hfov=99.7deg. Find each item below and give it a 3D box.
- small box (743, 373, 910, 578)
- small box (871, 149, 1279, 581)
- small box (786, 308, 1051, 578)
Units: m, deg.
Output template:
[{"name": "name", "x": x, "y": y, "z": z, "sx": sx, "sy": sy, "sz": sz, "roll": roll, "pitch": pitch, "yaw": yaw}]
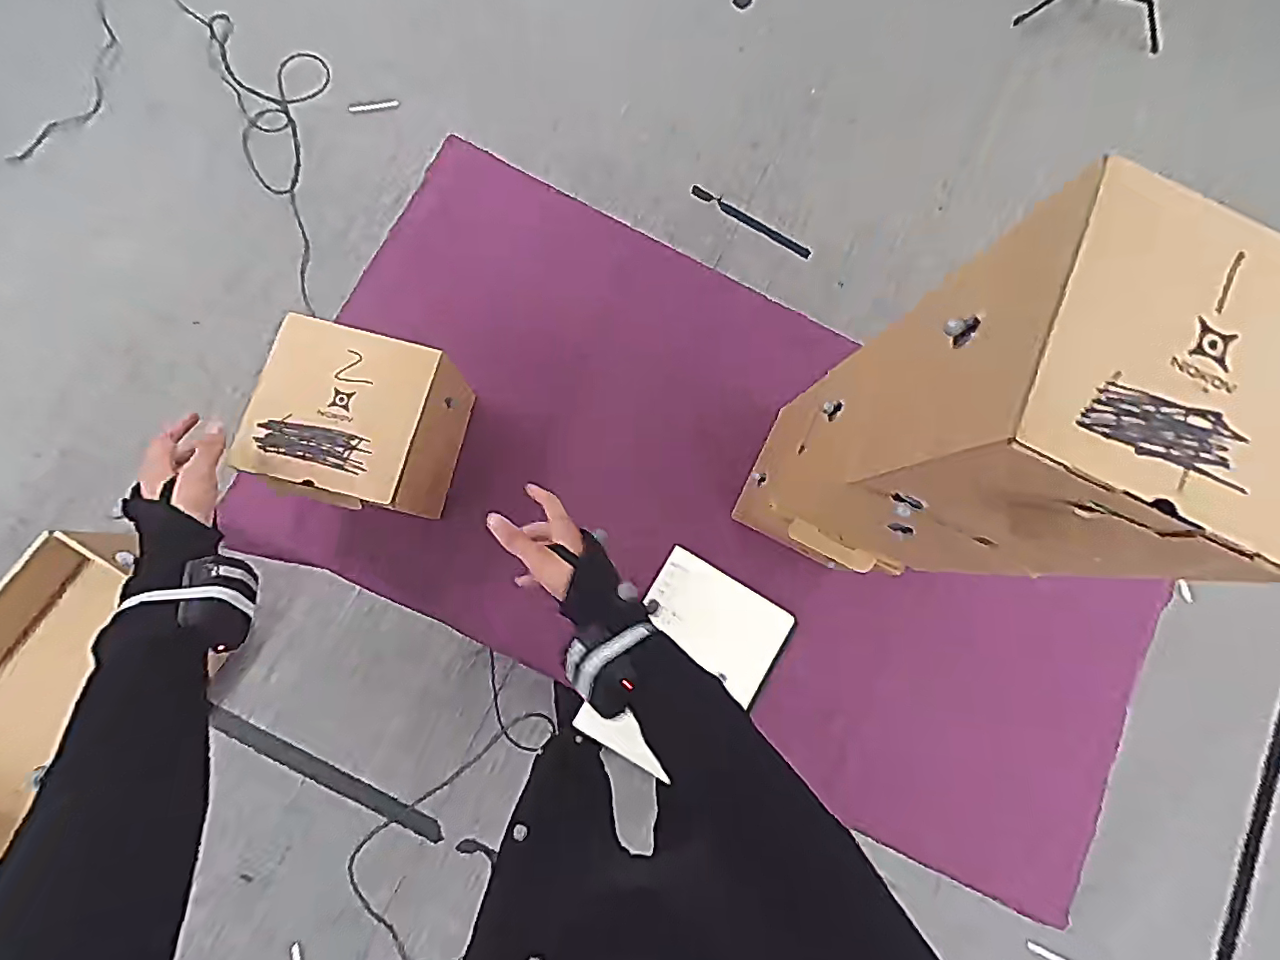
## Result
[{"name": "small box", "x": 0.244, "y": 0.004, "z": 0.667, "sx": 0.168, "sy": 0.176, "sz": 0.179, "roll": 28, "pitch": 81, "yaw": -1}, {"name": "small box", "x": 0.277, "y": -0.048, "z": 0.343, "sx": 0.168, "sy": 0.176, "sz": 0.179, "roll": 25, "pitch": 80, "yaw": -1}, {"name": "small box", "x": 0.264, "y": -0.021, "z": 0.505, "sx": 0.179, "sy": 0.176, "sz": 0.168, "roll": 26, "pitch": 81, "yaw": -2}]
